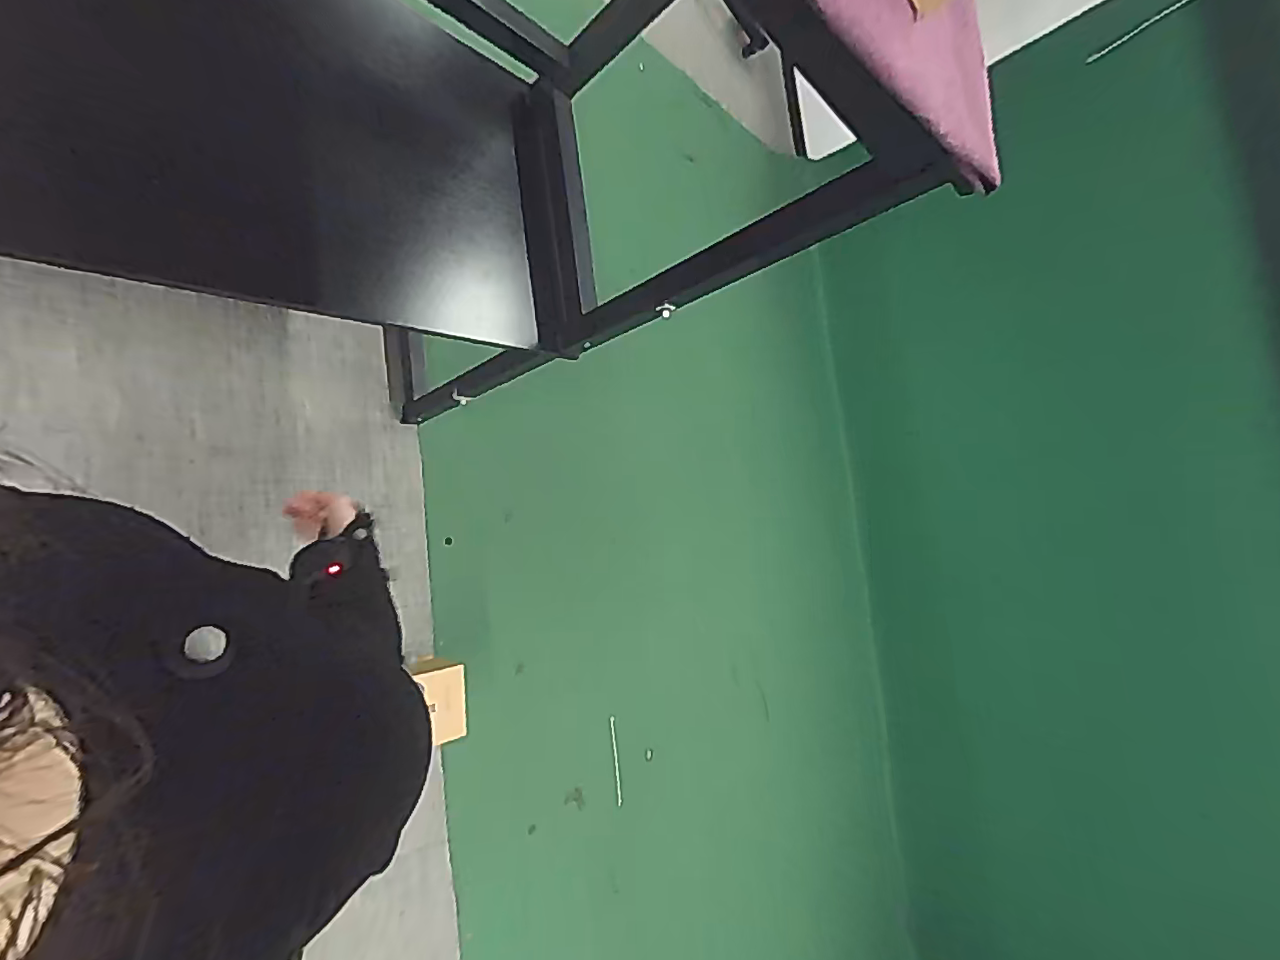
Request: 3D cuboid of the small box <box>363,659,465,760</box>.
[{"bbox_3d":[-0.533,0.527,1.266,0.179,0.176,0.168,2,82,-47],"label":"small box"}]
